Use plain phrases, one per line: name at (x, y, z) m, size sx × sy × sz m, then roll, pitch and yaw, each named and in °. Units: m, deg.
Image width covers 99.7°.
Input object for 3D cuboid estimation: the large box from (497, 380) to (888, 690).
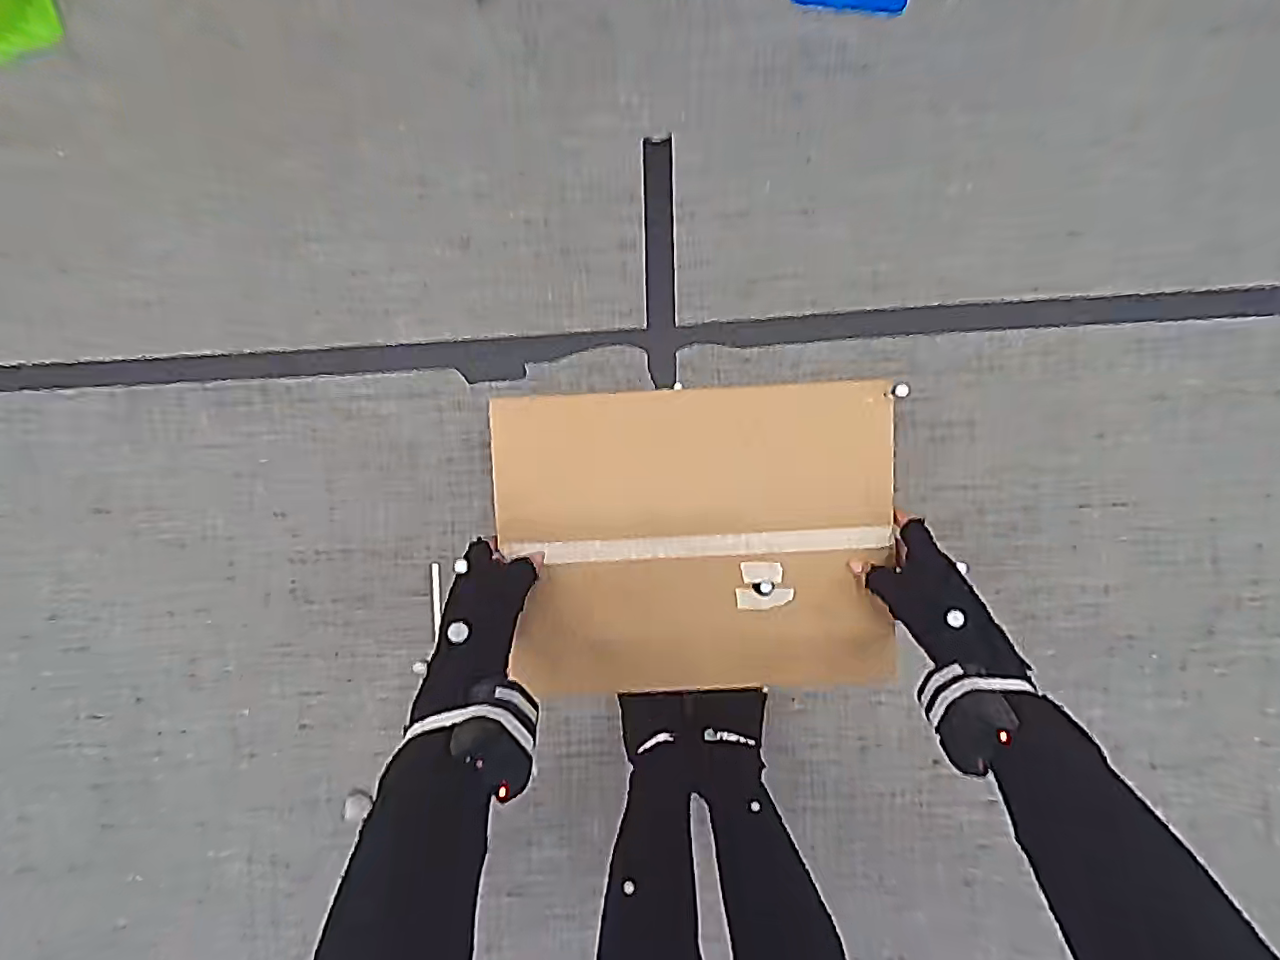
large box at (0.057, 0.049, 0.715) m, size 0.408 × 0.320 × 0.320 m, roll -3°, pitch 96°, yaw 0°
